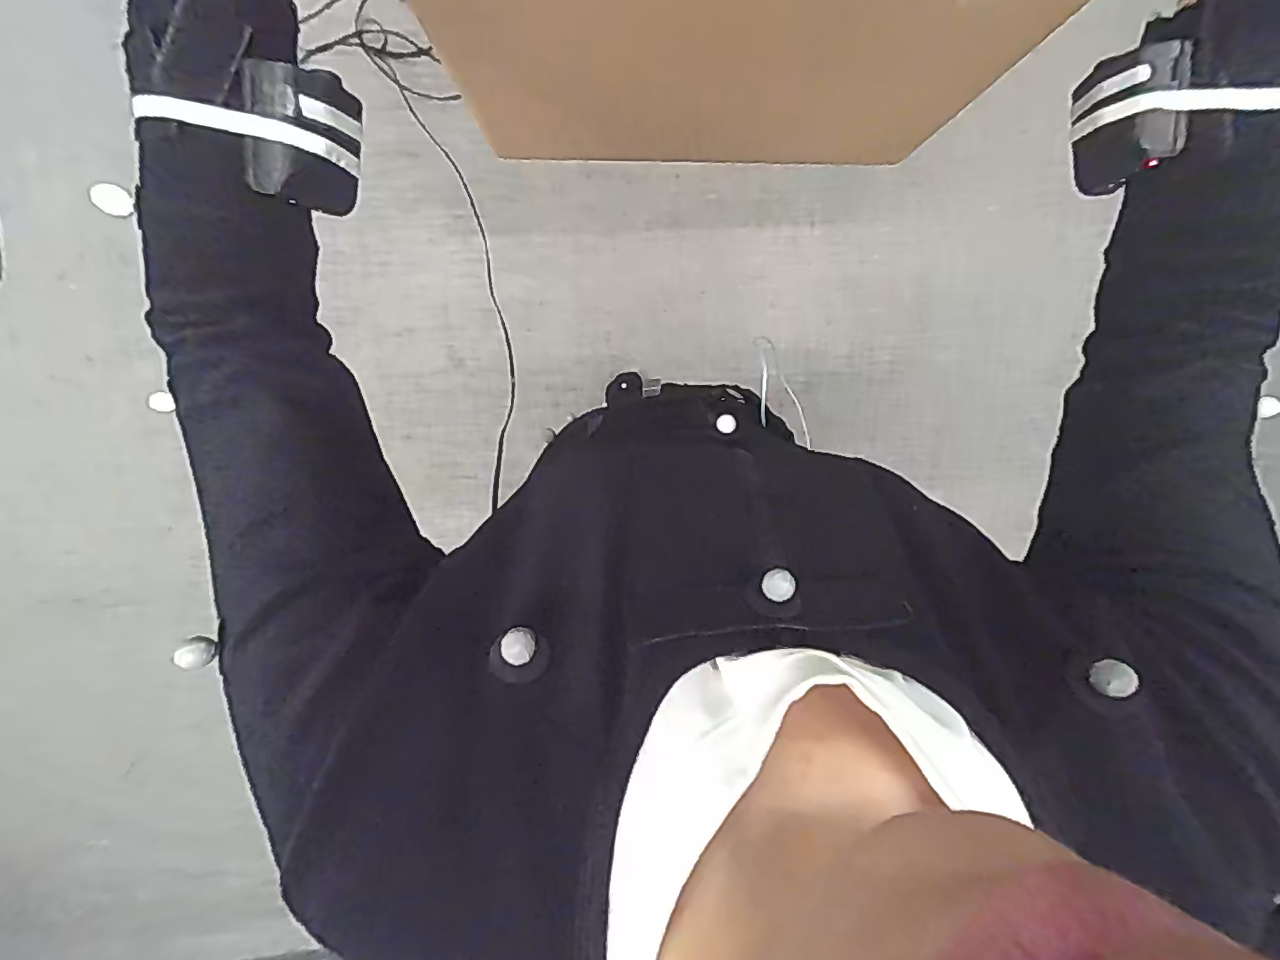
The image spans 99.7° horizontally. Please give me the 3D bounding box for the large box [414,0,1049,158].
[{"bbox_3d":[0.054,-0.448,0.364,0.408,0.320,0.320,-1,100,-1],"label":"large box"}]
